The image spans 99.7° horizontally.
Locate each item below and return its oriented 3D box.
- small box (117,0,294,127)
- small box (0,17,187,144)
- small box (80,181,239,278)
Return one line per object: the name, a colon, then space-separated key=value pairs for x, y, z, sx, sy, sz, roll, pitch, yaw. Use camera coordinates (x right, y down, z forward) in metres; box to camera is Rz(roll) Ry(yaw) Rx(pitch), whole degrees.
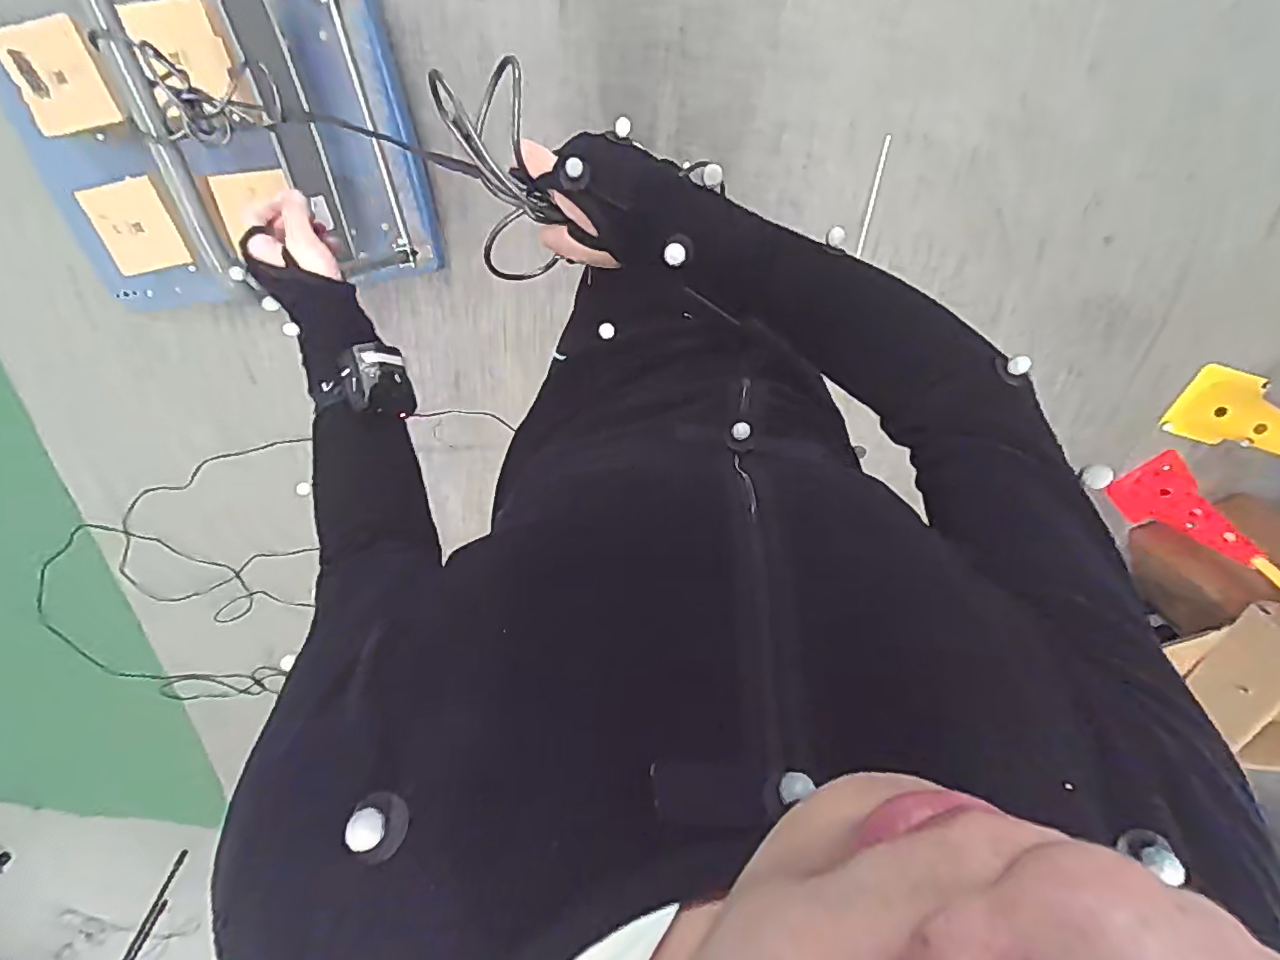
small box: x=-0.830 y=-0.799 z=1.054 sx=0.179 sy=0.176 sz=0.168 roll=-3 pitch=119 yaw=7
small box: x=-1.076 y=-0.781 z=1.076 sx=0.179 sy=0.176 sz=0.168 roll=-7 pitch=119 yaw=7
small box: x=-1.043 y=-0.558 z=1.198 sx=0.179 sy=0.176 sz=0.168 roll=-8 pitch=117 yaw=8
